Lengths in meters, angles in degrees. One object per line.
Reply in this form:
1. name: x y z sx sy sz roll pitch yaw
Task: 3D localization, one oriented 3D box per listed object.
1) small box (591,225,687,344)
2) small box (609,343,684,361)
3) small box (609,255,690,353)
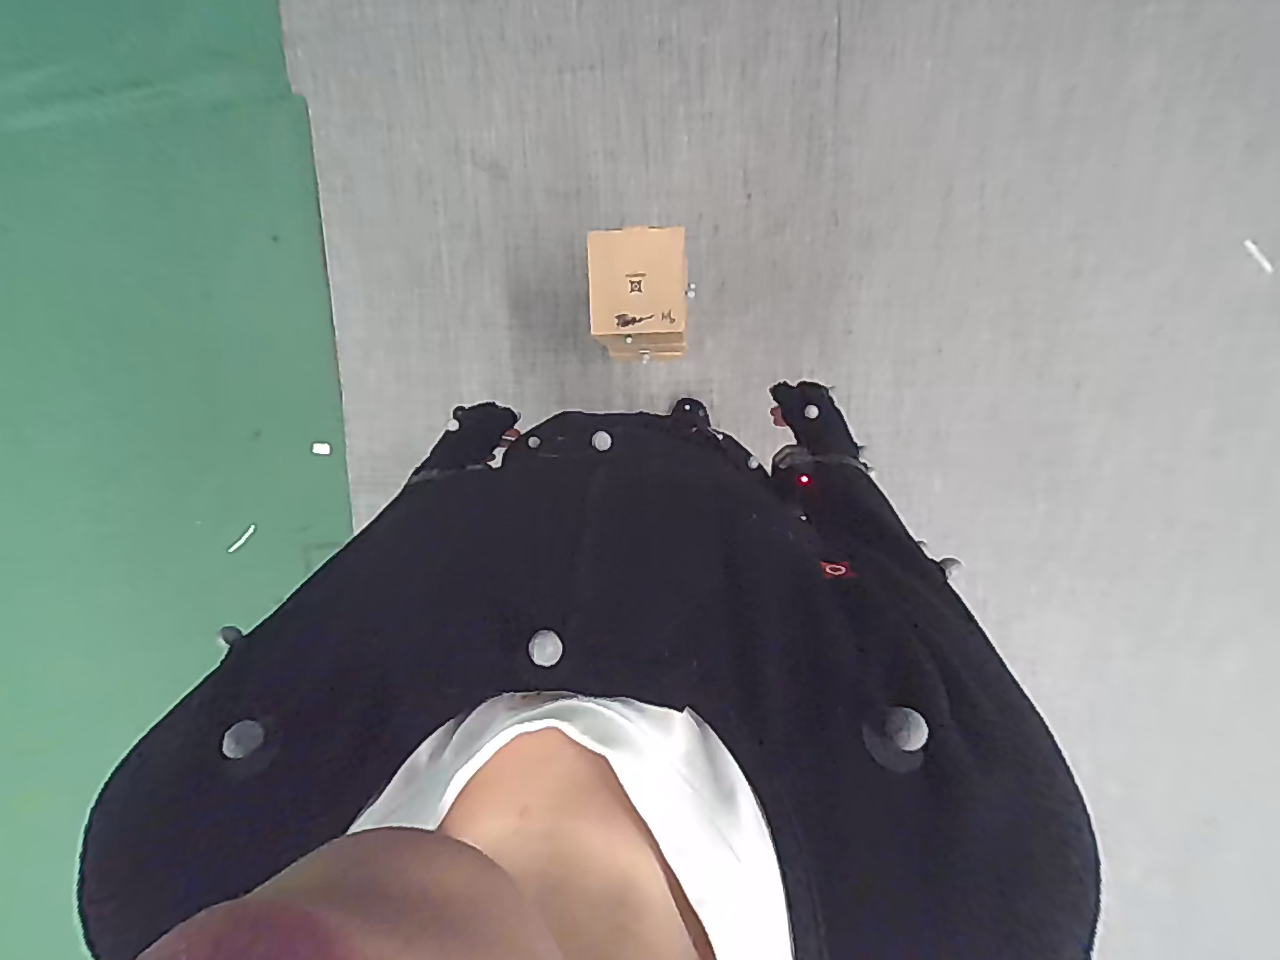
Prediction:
1. small box: 0.003 -0.354 1.004 0.168 0.176 0.179 0 97 6
2. small box: 0.021 -0.385 1.328 0.179 0.176 0.168 1 98 5
3. small box: 0.023 -0.372 1.167 0.168 0.176 0.179 0 98 6
